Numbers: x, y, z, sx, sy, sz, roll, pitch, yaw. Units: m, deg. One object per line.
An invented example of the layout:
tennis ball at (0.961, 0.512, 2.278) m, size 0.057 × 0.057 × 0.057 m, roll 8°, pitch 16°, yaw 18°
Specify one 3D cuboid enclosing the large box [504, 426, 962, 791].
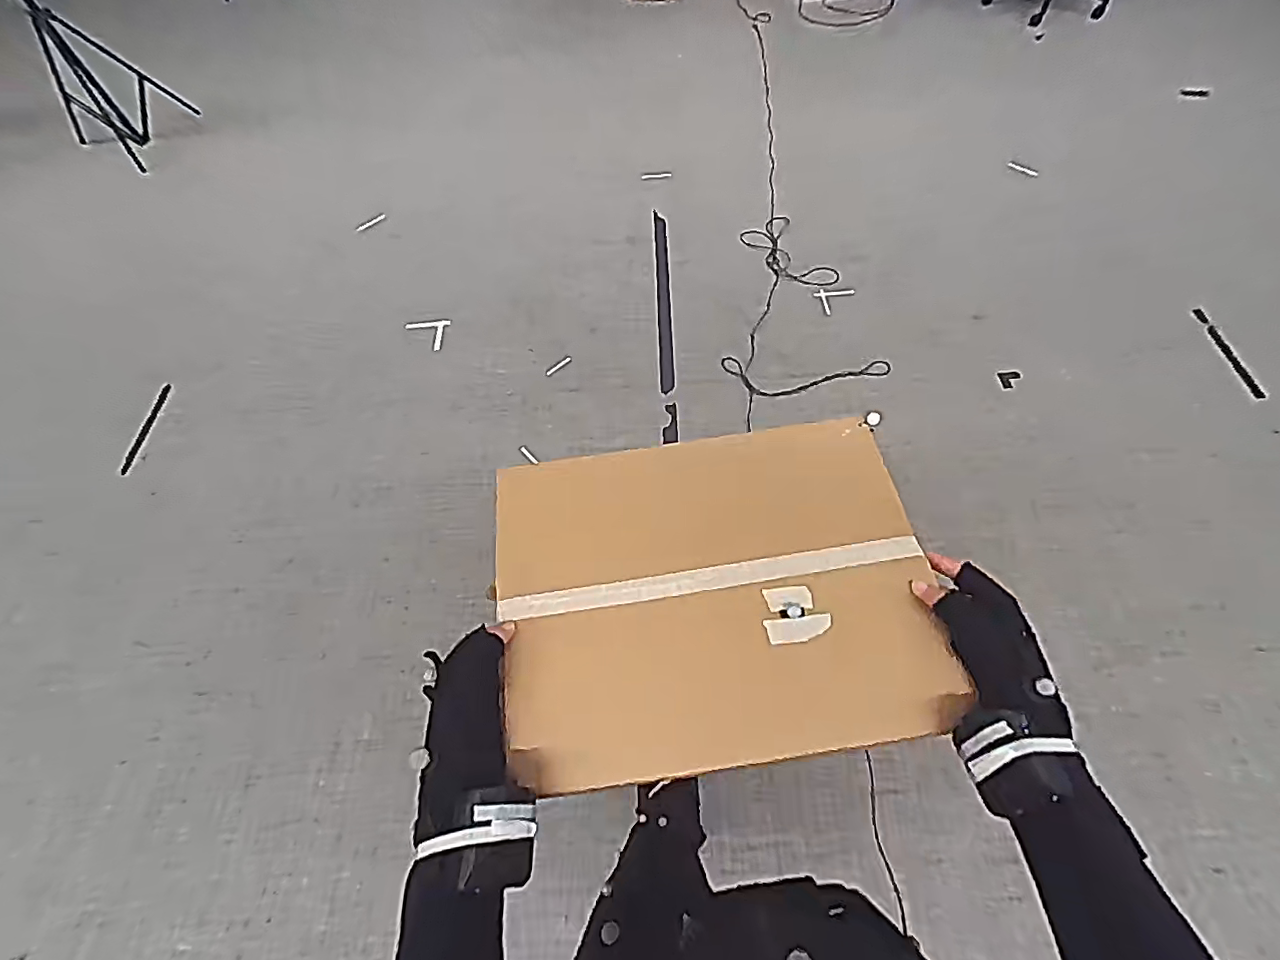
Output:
large box at (0.072, 0.172, 0.667) m, size 0.408 × 0.320 × 0.320 m, roll -9°, pitch 62°, yaw -2°
